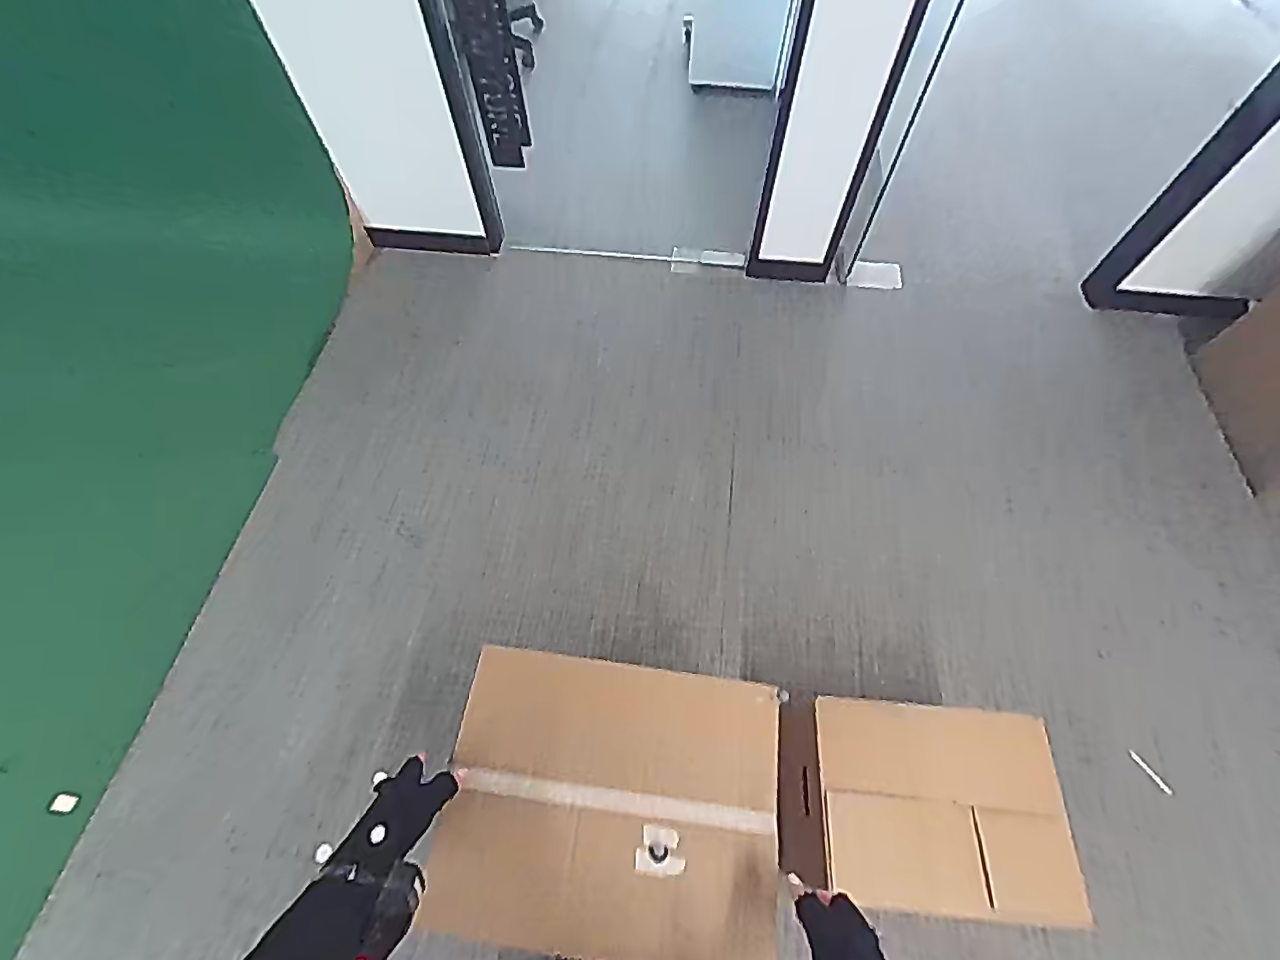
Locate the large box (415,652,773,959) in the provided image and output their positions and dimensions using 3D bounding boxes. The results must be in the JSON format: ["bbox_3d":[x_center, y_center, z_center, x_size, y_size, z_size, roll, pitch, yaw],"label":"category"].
[{"bbox_3d":[-0.042,0.462,0.791,0.408,0.320,0.320,8,62,2],"label":"large box"}]
